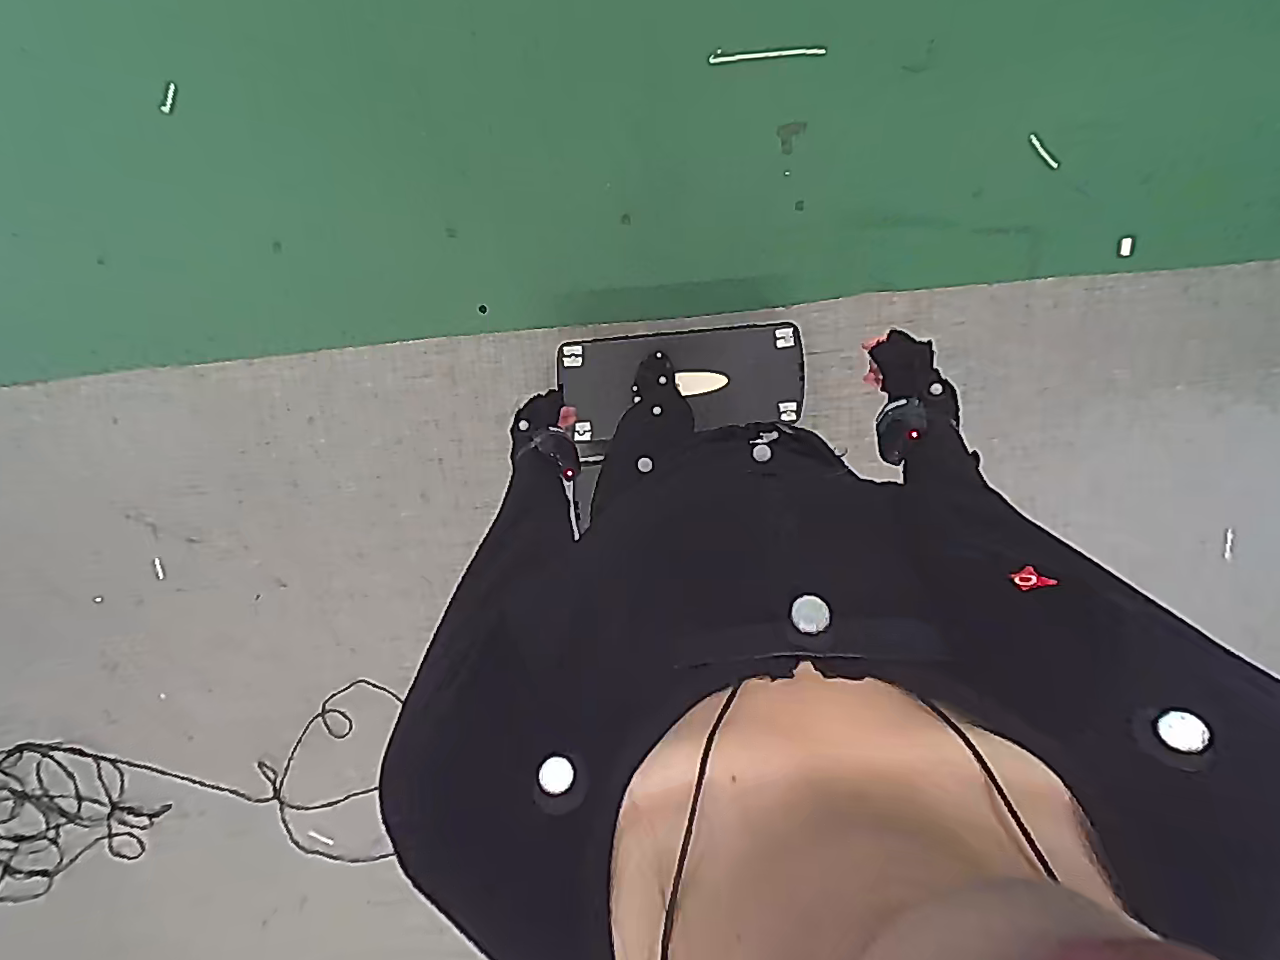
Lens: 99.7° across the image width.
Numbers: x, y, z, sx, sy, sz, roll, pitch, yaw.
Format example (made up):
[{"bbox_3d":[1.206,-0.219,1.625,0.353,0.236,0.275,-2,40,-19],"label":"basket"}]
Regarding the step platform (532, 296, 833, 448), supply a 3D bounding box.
[{"bbox_3d":[0.098,-0.261,1.311,0.684,0.204,0.286,-6,102,1],"label":"step platform"}]
